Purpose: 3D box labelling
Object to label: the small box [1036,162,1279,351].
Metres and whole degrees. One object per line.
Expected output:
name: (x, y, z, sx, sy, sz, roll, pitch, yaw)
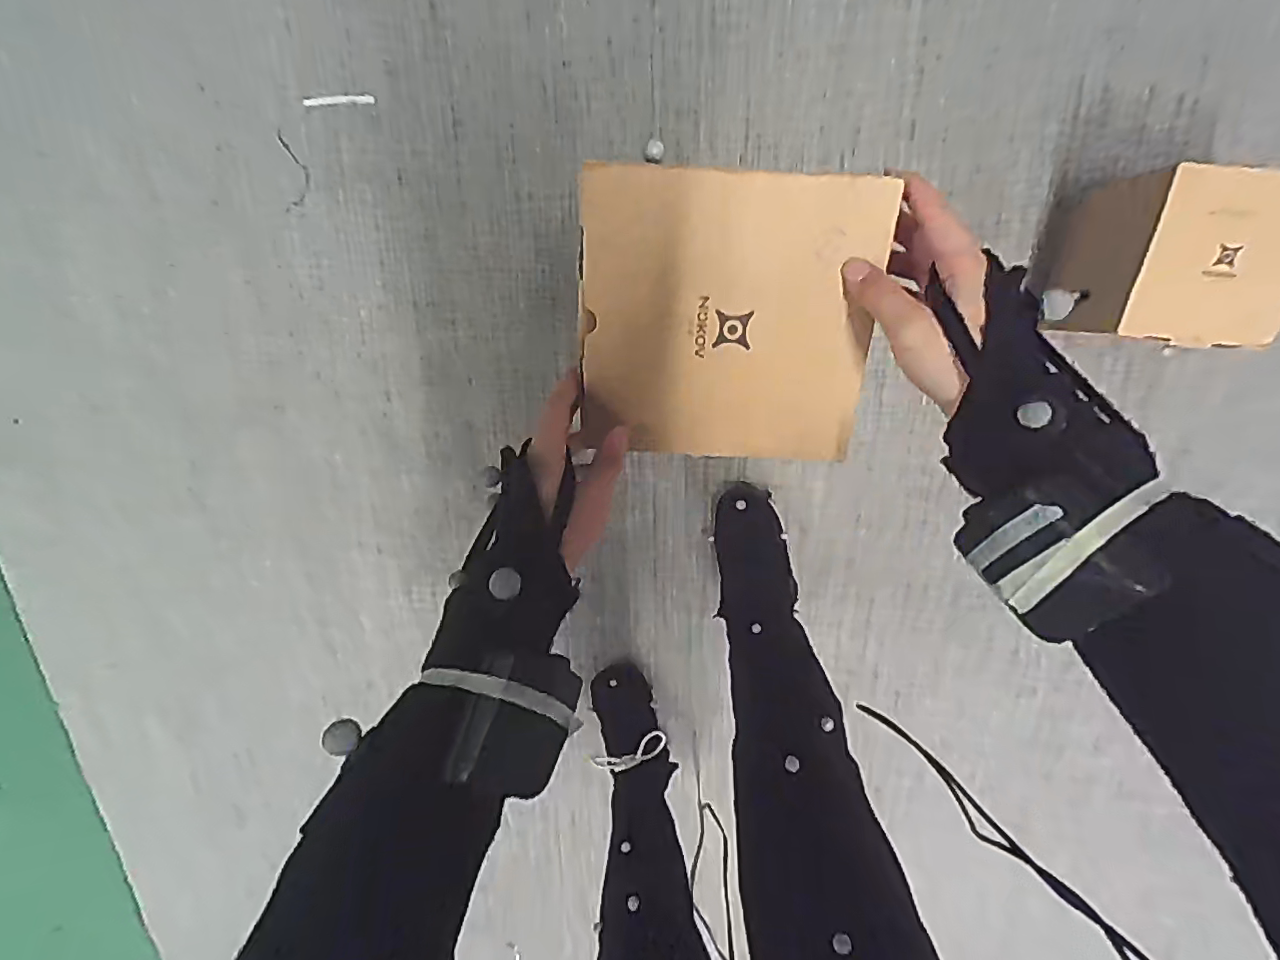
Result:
small box: (0.624, -0.257, 0.648, 0.168, 0.176, 0.179, 7, 107, 3)
